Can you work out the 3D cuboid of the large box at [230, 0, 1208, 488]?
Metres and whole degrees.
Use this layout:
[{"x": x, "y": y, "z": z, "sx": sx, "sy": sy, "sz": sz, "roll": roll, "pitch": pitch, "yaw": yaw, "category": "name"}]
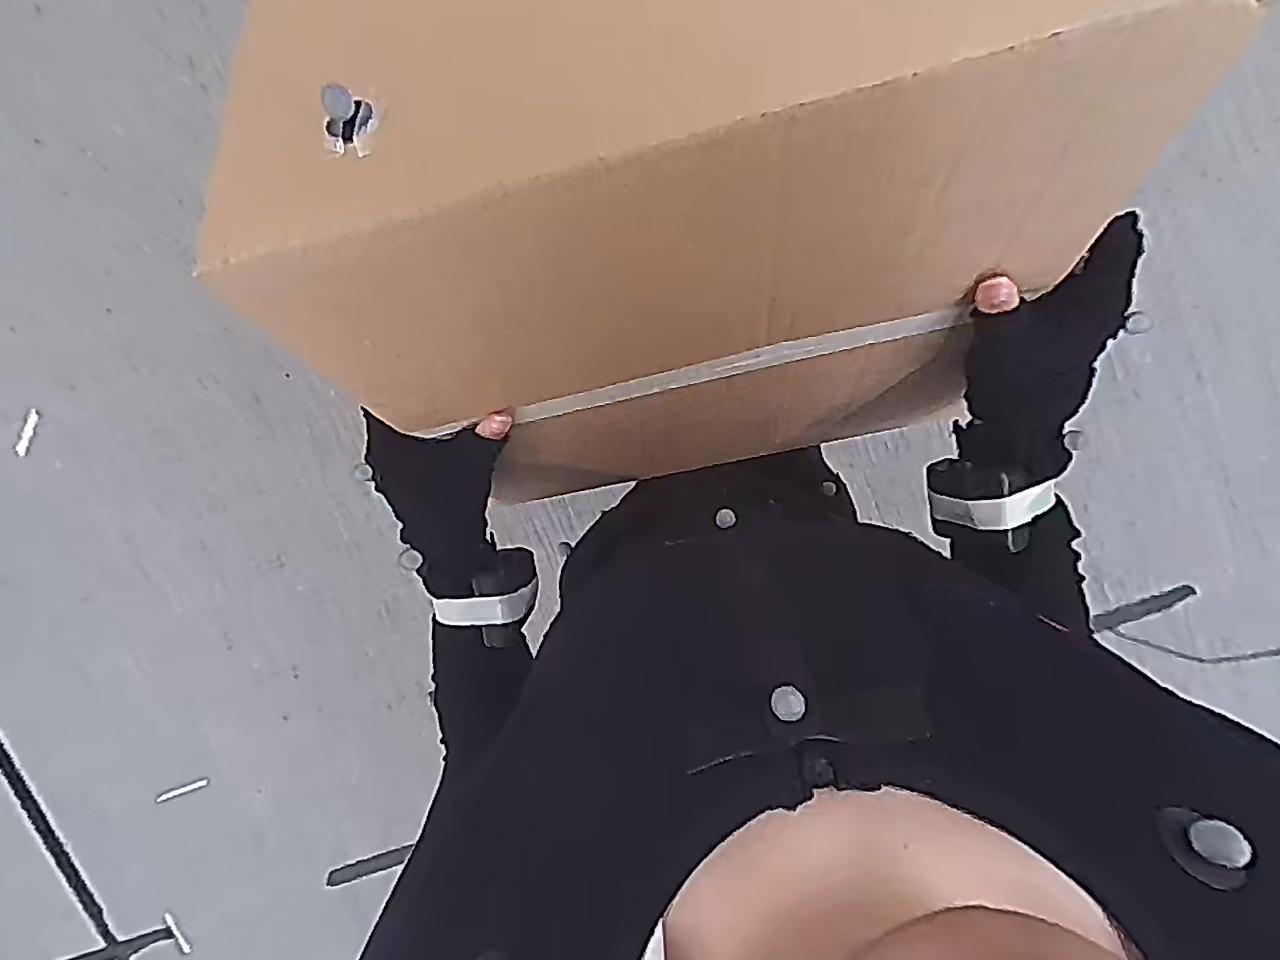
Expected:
[{"x": 0.016, "y": -0.222, "z": 0.401, "sx": 0.408, "sy": 0.320, "sz": 0.320, "roll": -12, "pitch": 69, "yaw": 6, "category": "large box"}]
